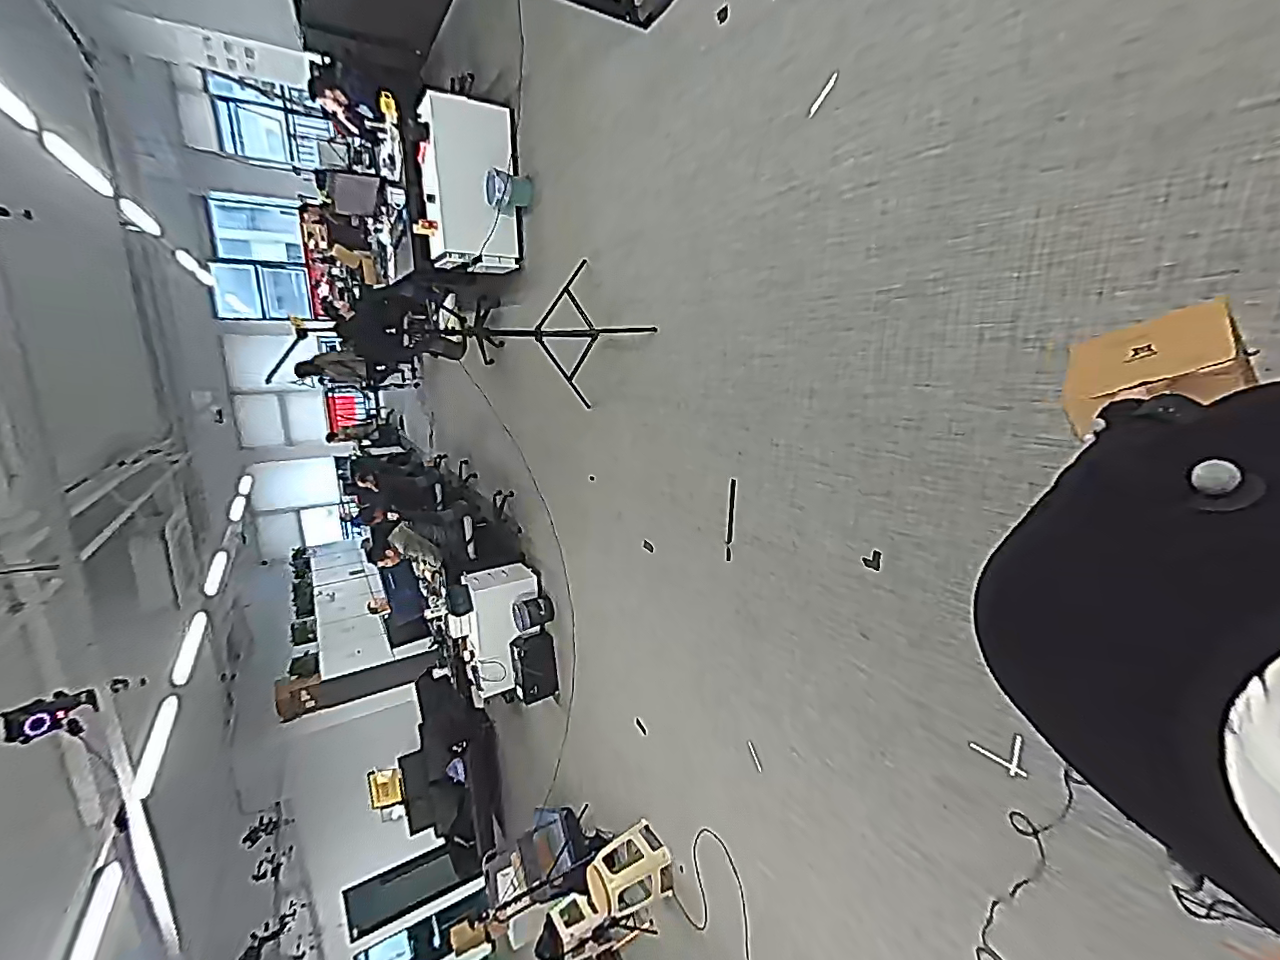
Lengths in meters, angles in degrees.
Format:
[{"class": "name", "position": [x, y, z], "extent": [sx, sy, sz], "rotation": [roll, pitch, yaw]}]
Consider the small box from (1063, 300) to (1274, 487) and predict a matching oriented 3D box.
[{"class": "small box", "position": [0.718, -0.106, 0.742], "extent": [0.176, 0.179, 0.168], "rotation": [52, 144, -15]}]
